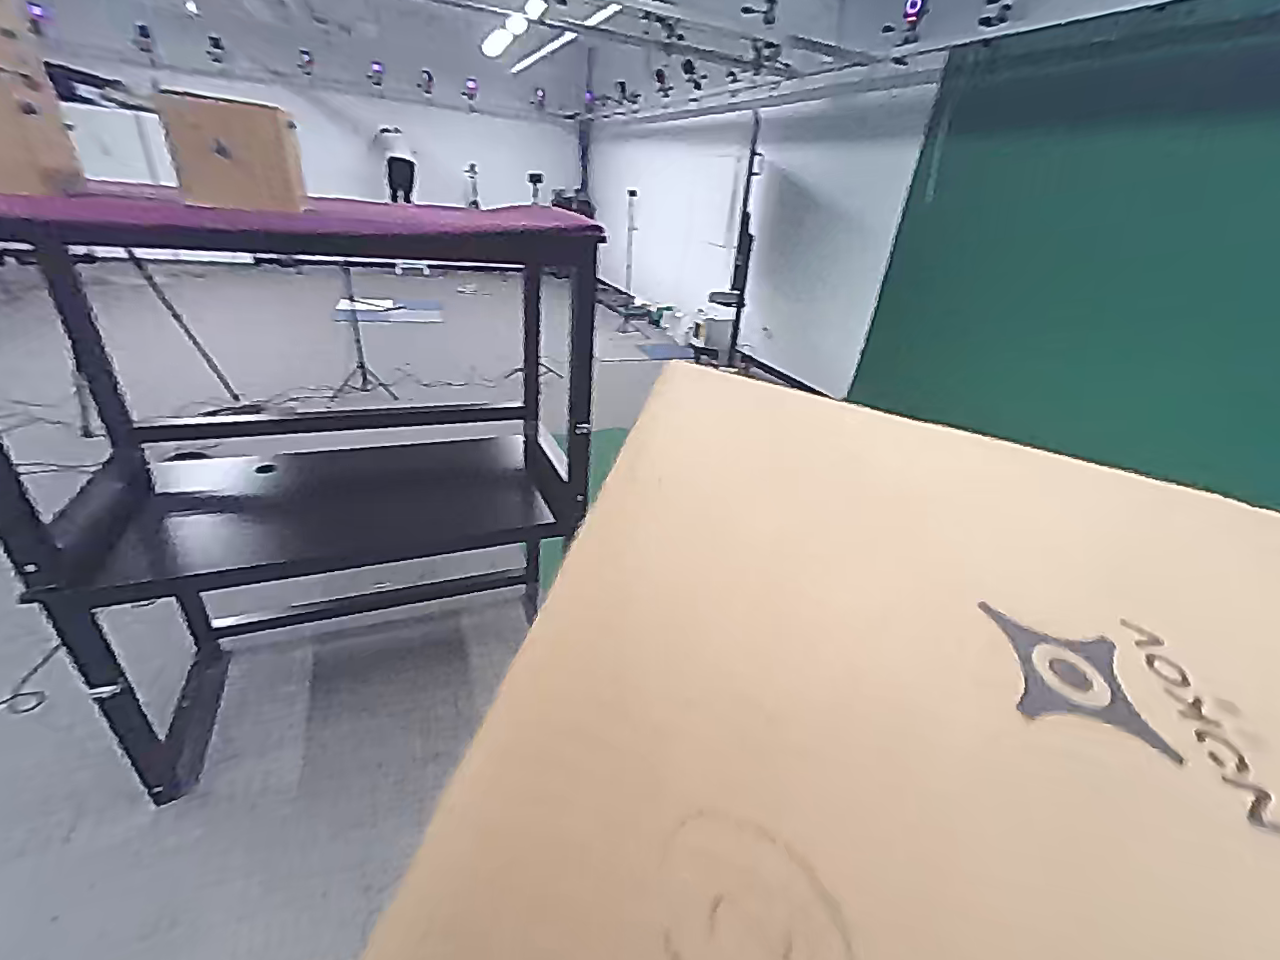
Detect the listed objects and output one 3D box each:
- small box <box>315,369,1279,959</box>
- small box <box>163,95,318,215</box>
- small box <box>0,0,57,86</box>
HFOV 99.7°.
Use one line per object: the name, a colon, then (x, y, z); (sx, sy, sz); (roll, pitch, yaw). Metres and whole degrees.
small box: (0.056, 0.095, 0.139); (0.179, 0.176, 0.168); (16, 35, 5)
small box: (-0.719, -0.589, 0.998); (0.179, 0.176, 0.168); (-6, 31, -20)
small box: (-1.011, -0.688, 0.771); (0.179, 0.176, 0.168); (-6, 31, -23)
